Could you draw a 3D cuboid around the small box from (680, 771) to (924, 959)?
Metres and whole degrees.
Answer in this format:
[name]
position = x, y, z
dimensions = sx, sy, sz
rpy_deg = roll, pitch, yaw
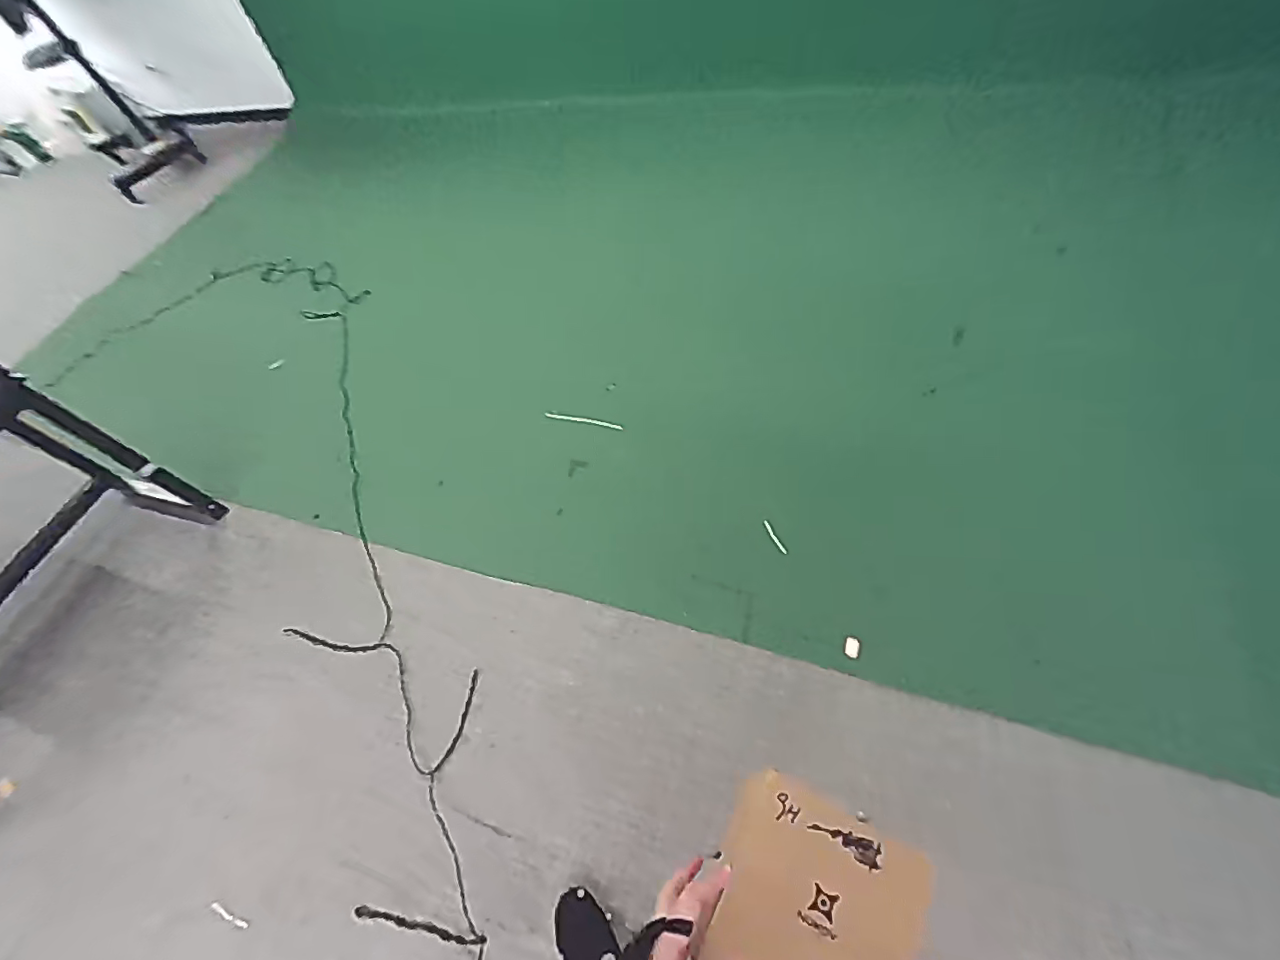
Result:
[small box]
position = 0.150, 0.428, 0.540
dimensions = 0.168, 0.176, 0.179
rpy_deg = 24, 60, 17
